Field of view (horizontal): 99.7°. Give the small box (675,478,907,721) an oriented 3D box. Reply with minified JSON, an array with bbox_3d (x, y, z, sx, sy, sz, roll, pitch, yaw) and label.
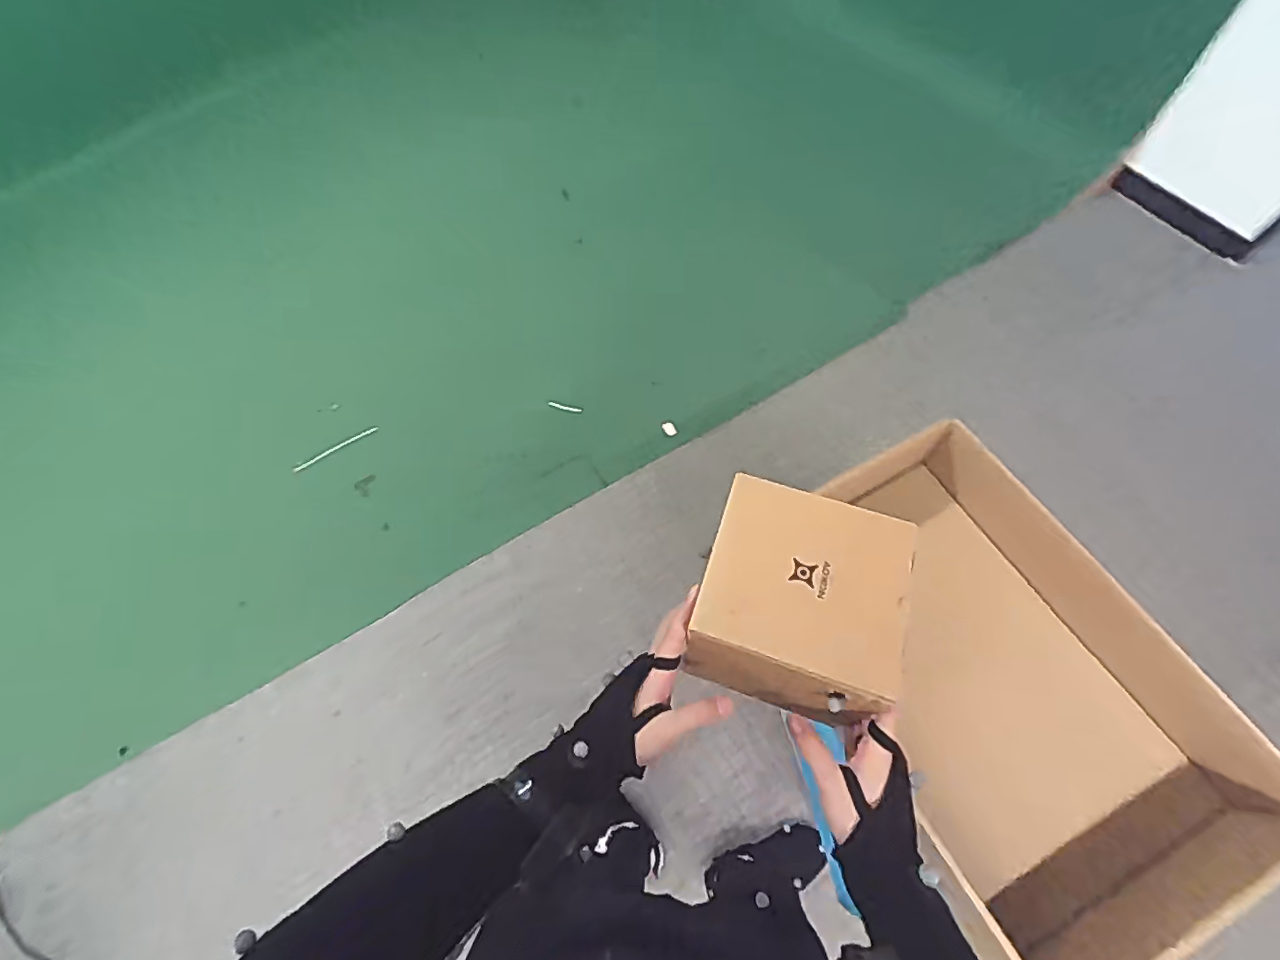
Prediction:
[{"bbox_3d":[0.140,0.127,0.544,0.179,0.176,0.168,17,61,9],"label":"small box"}]
